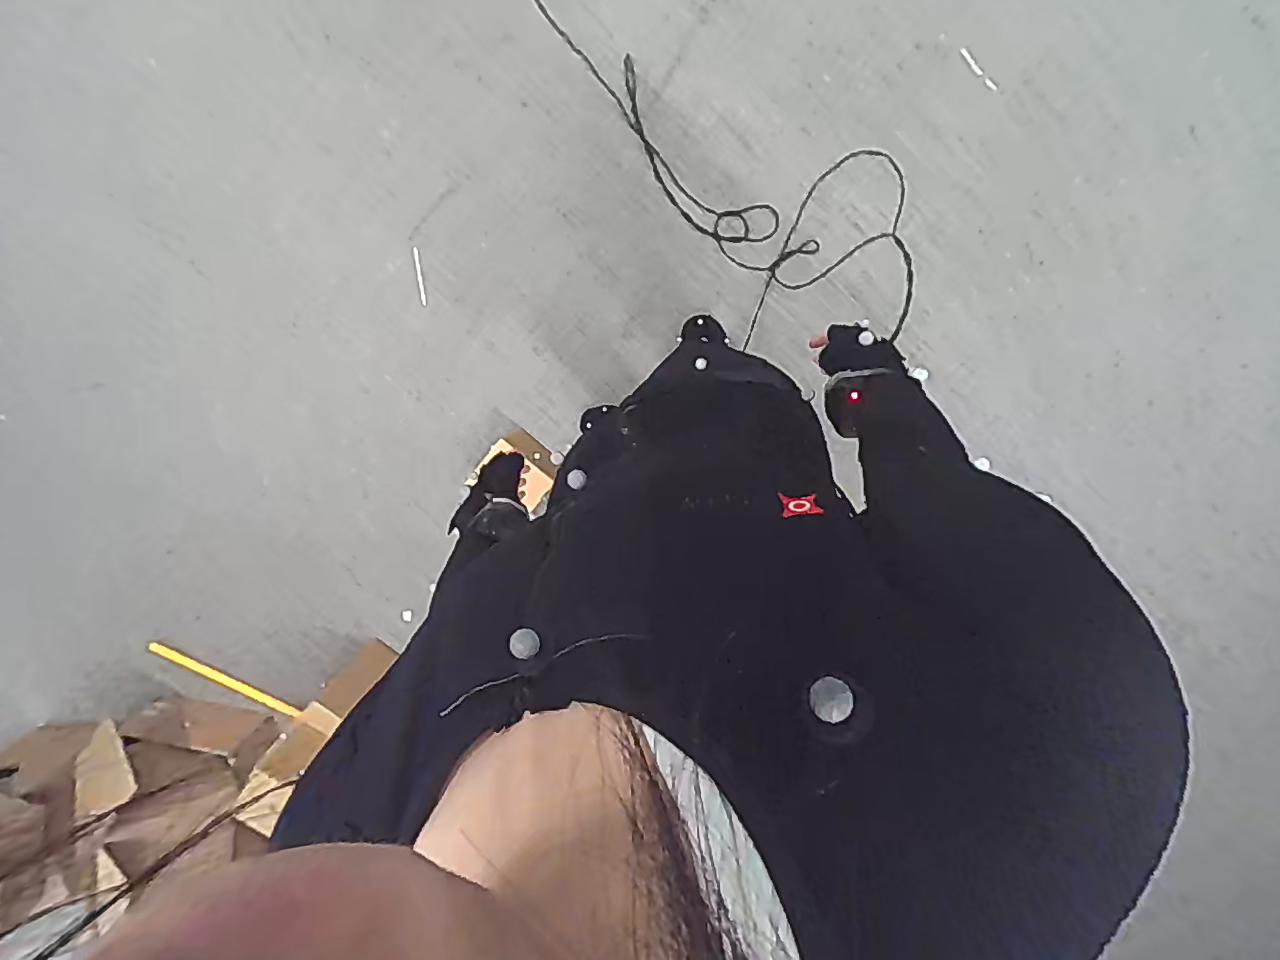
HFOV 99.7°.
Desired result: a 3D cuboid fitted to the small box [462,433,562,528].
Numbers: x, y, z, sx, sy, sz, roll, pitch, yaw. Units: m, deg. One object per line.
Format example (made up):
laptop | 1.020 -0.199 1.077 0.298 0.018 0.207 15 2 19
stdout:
small box | -0.331 -0.008 1.434 0.179 0.176 0.168 40 103 -8
